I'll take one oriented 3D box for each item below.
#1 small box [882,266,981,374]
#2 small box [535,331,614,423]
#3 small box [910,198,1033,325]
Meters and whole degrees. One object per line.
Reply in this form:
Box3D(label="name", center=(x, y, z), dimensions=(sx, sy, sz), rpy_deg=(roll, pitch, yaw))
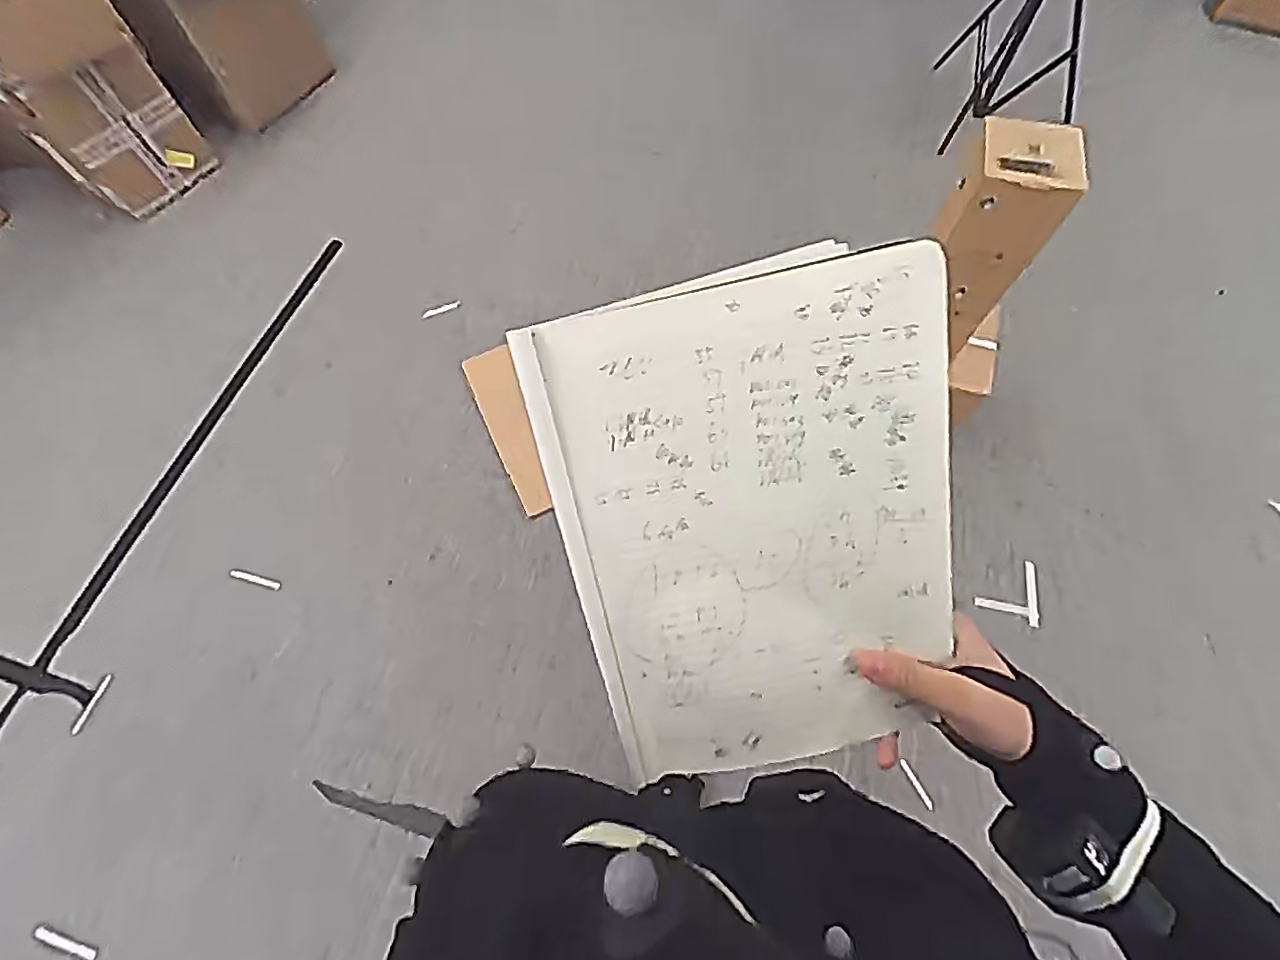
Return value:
Box3D(label="small box", center=(0.705, -0.384, 1.305), dimensions=(0.168, 0.176, 0.179), rpy_deg=(18, 66, 10))
Box3D(label="small box", center=(-0.193, -0.306, 1.629), dimensions=(0.168, 0.176, 0.179), rpy_deg=(-31, 69, -12))
Box3D(label="small box", center=(0.703, -0.462, 1.161), dimensions=(0.168, 0.176, 0.179), rpy_deg=(16, 68, 9))
